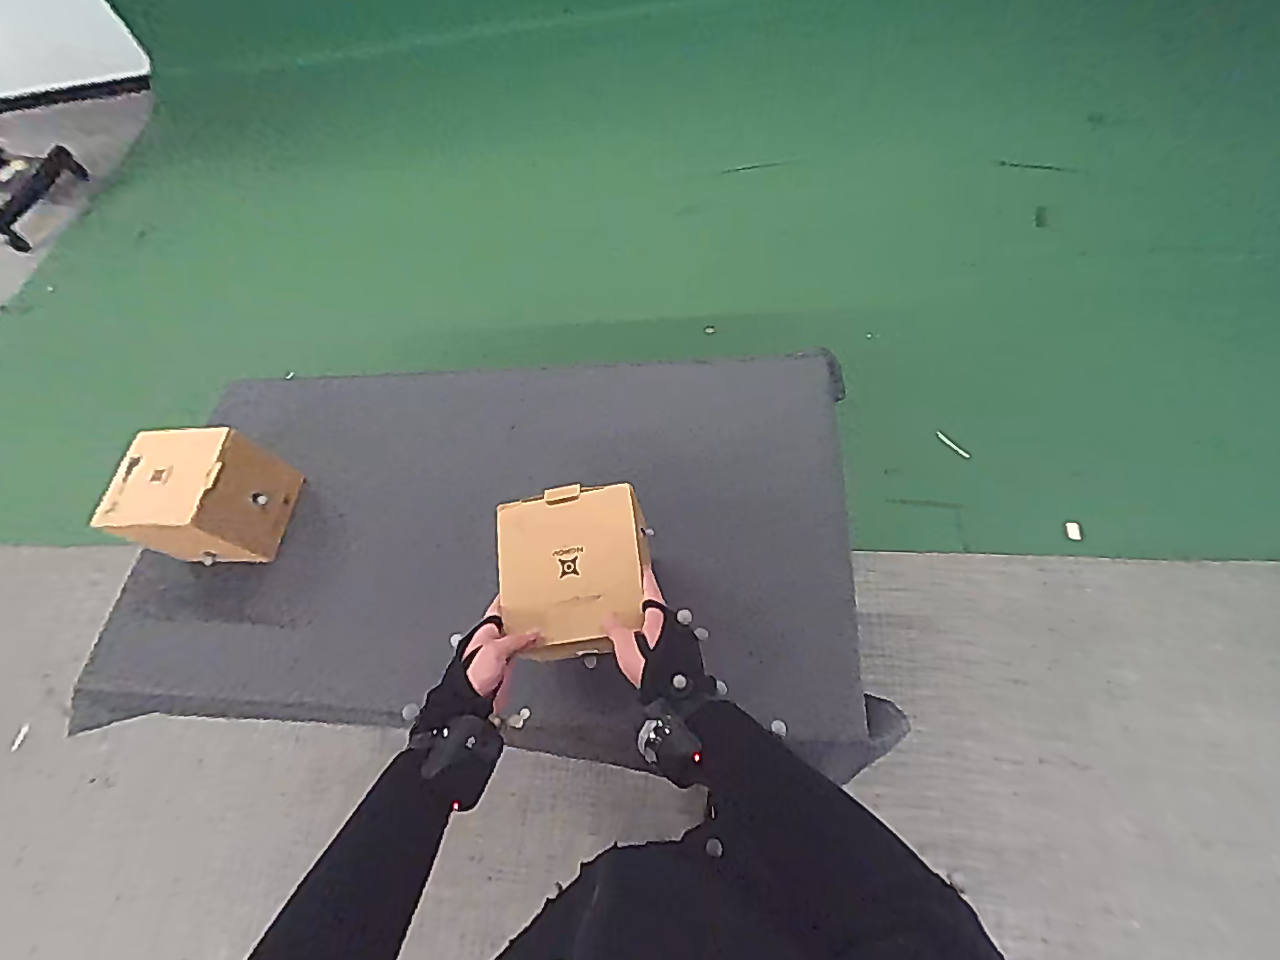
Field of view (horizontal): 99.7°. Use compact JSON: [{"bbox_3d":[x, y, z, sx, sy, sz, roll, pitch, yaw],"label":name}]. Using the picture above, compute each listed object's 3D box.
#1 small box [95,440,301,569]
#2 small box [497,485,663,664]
[{"bbox_3d":[-0.713,0.045,0.899,0.179,0.176,0.168,-1,63,8],"label":"small box"},{"bbox_3d":[-0.068,0.125,0.673,0.168,0.176,0.179,-8,67,6],"label":"small box"}]
